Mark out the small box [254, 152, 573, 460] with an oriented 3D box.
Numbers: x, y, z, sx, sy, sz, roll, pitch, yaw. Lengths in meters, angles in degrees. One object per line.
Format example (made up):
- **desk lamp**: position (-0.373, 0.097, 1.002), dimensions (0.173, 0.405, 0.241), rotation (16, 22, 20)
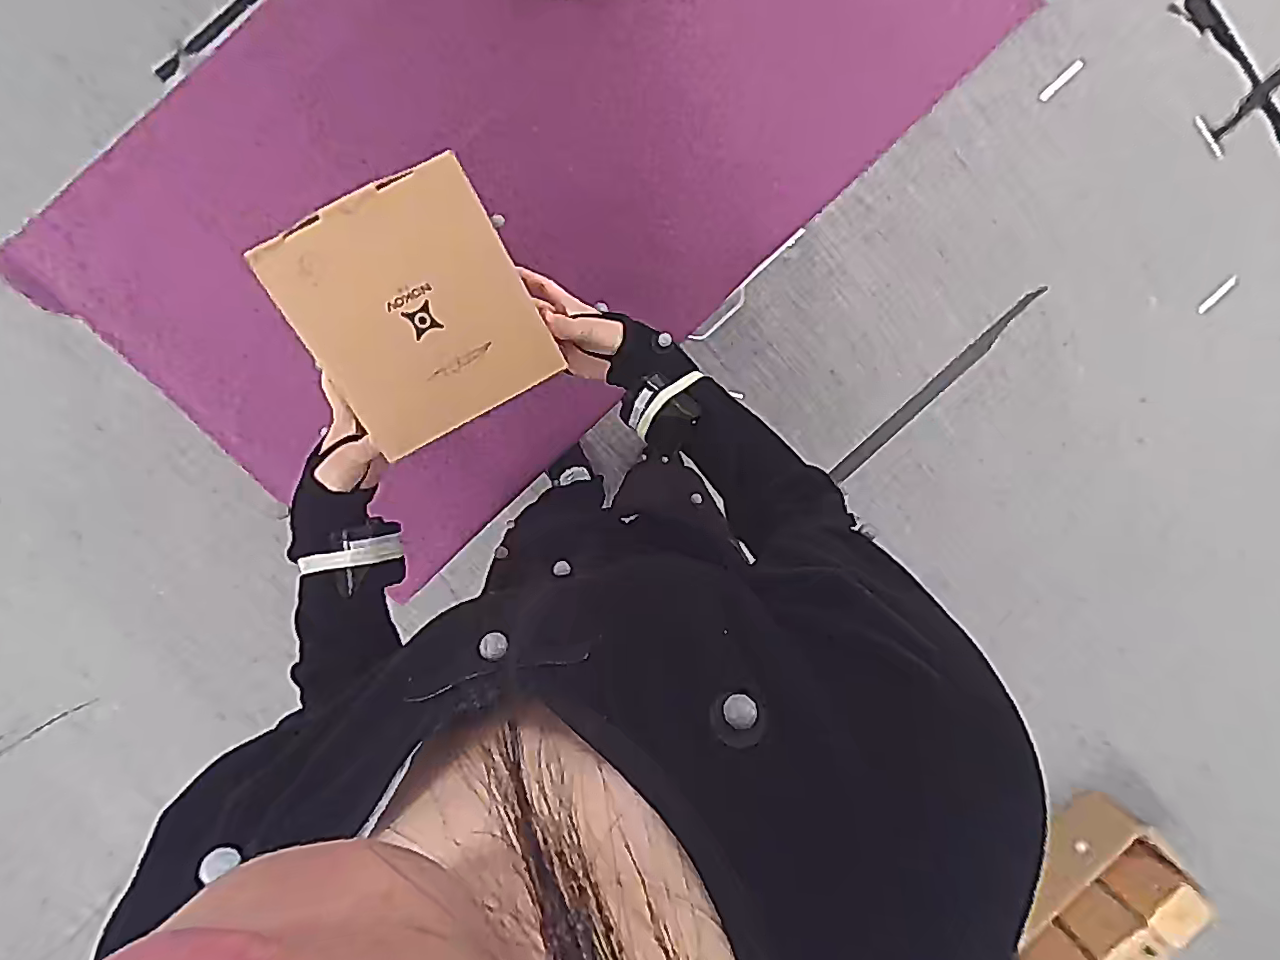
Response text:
- **small box**: position (-0.180, -0.145, 0.481), dimensions (0.168, 0.176, 0.179), rotation (-29, 110, -4)
